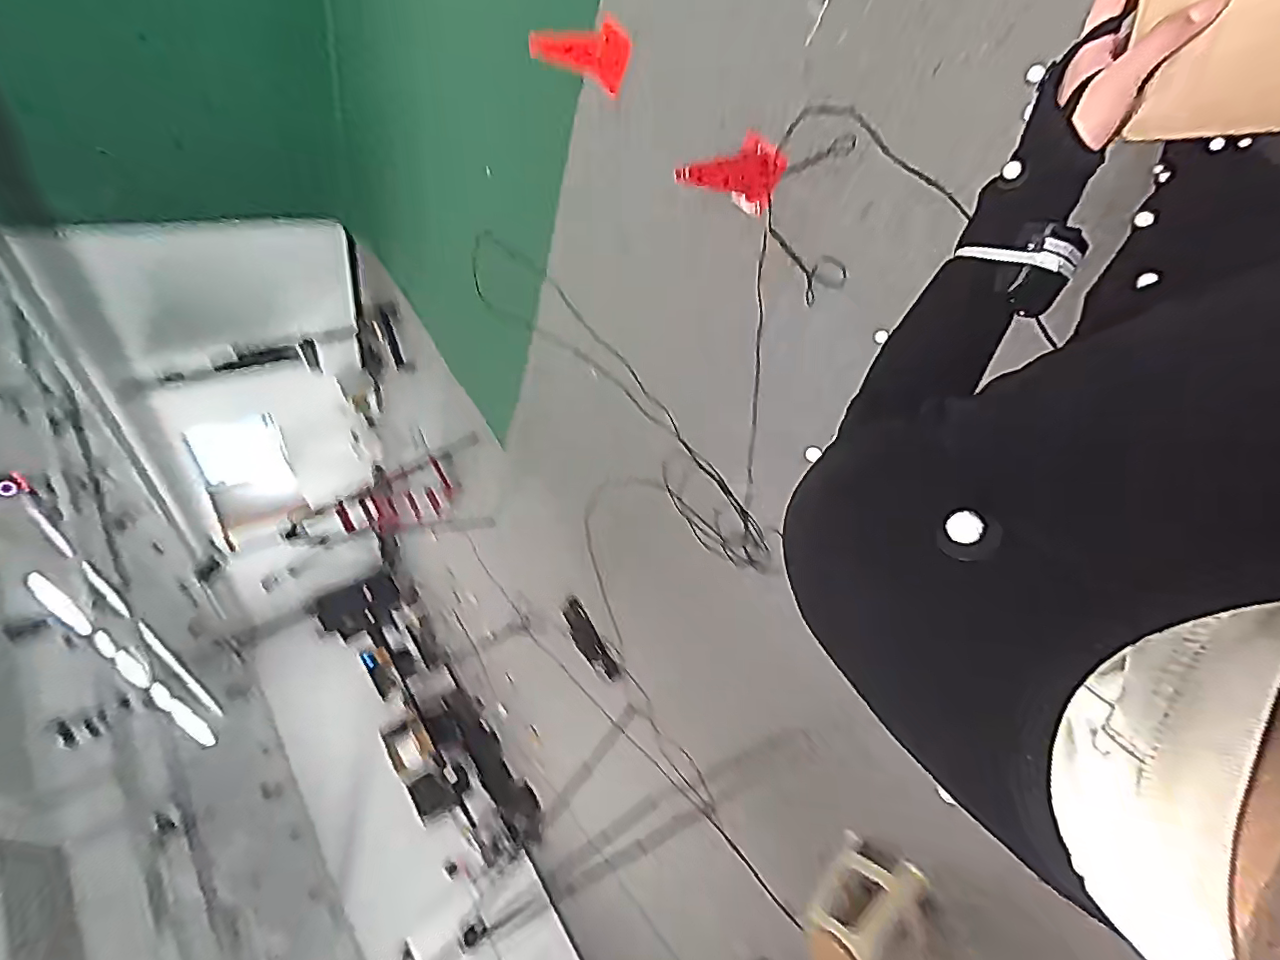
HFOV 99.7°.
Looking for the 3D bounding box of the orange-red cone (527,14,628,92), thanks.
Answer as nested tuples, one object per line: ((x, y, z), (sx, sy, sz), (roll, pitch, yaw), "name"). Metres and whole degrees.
((-0.256, -1.615, 2.024), (0.198, 0.360, 0.199), (58, 146, 15), "orange-red cone")
